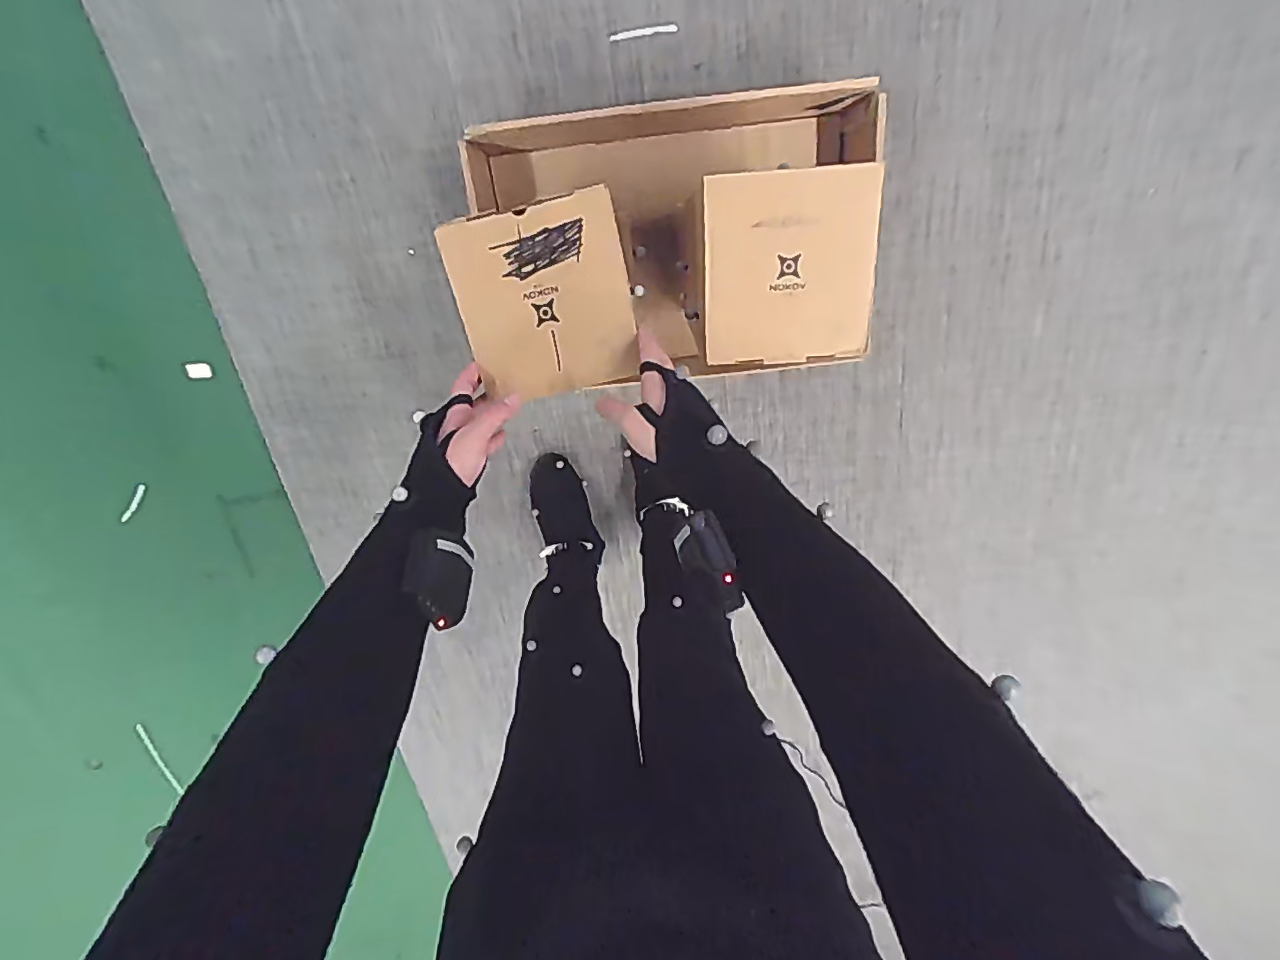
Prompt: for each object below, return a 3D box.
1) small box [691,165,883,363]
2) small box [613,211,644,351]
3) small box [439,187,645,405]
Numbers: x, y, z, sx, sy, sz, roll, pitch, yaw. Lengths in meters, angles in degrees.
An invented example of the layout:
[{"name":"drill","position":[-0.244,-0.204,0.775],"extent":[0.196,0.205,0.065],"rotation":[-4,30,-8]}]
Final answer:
[{"name":"small box","position":[0.145,-0.236,0.598],"extent":[0.168,0.176,0.179],"rotation":[-3,113,2]},{"name":"small box","position":[-0.087,-0.263,0.755],"extent":[0.168,0.176,0.179],"rotation":[-7,112,2]},{"name":"small box","position":[-0.092,-0.195,0.598],"extent":[0.168,0.176,0.179],"rotation":[-12,108,5]}]
